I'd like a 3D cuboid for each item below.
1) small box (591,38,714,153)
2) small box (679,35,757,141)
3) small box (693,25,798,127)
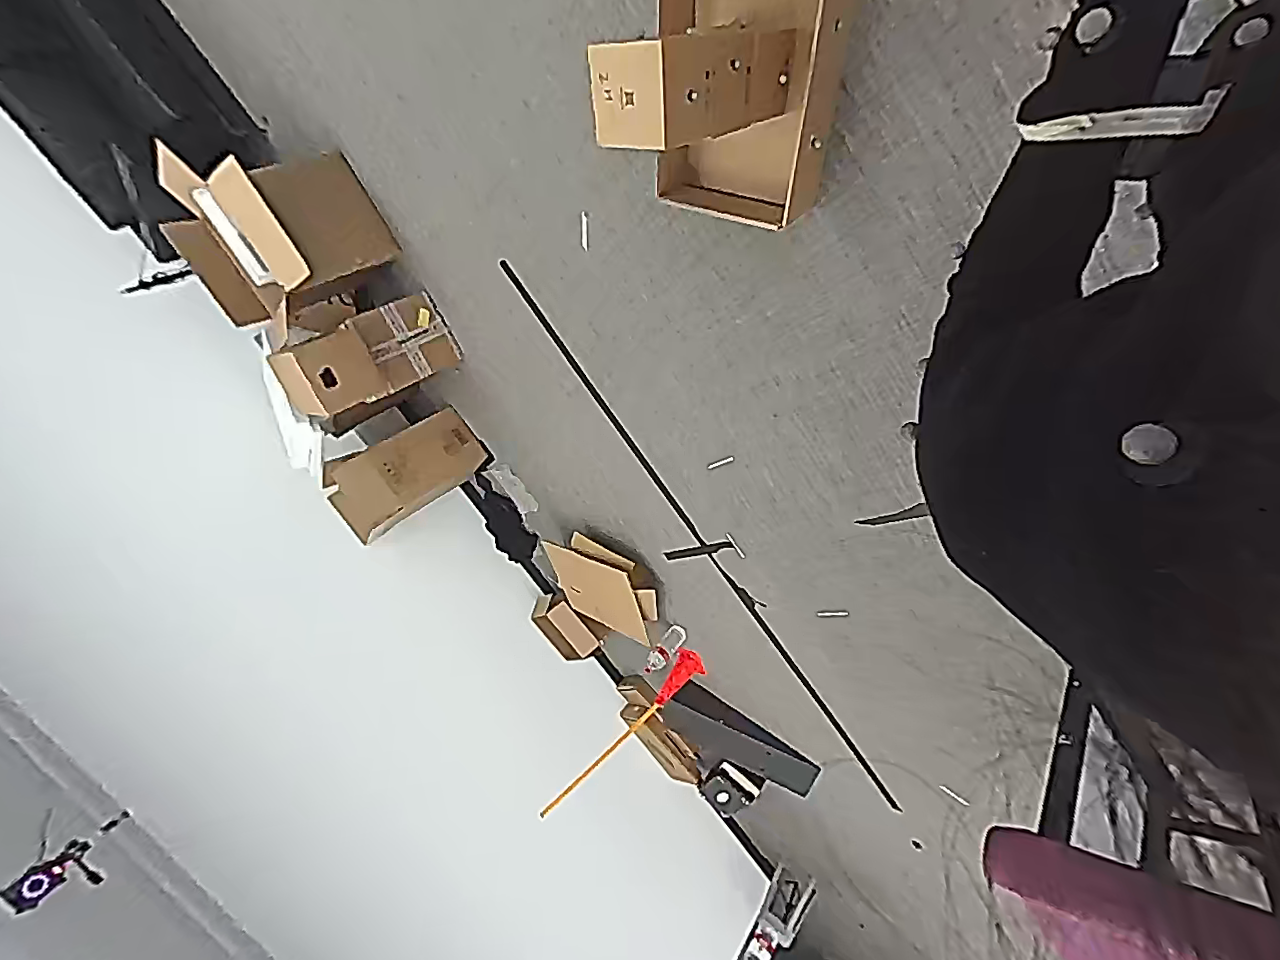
[{"bbox_3d":[0.031,-0.755,1.059,0.179,0.176,0.168,25,137,30],"label":"small box"},{"bbox_3d":[0.133,-0.841,1.157,0.179,0.176,0.168,26,138,31],"label":"small box"},{"bbox_3d":[0.235,-0.933,1.244,0.179,0.176,0.168,28,140,27],"label":"small box"}]
